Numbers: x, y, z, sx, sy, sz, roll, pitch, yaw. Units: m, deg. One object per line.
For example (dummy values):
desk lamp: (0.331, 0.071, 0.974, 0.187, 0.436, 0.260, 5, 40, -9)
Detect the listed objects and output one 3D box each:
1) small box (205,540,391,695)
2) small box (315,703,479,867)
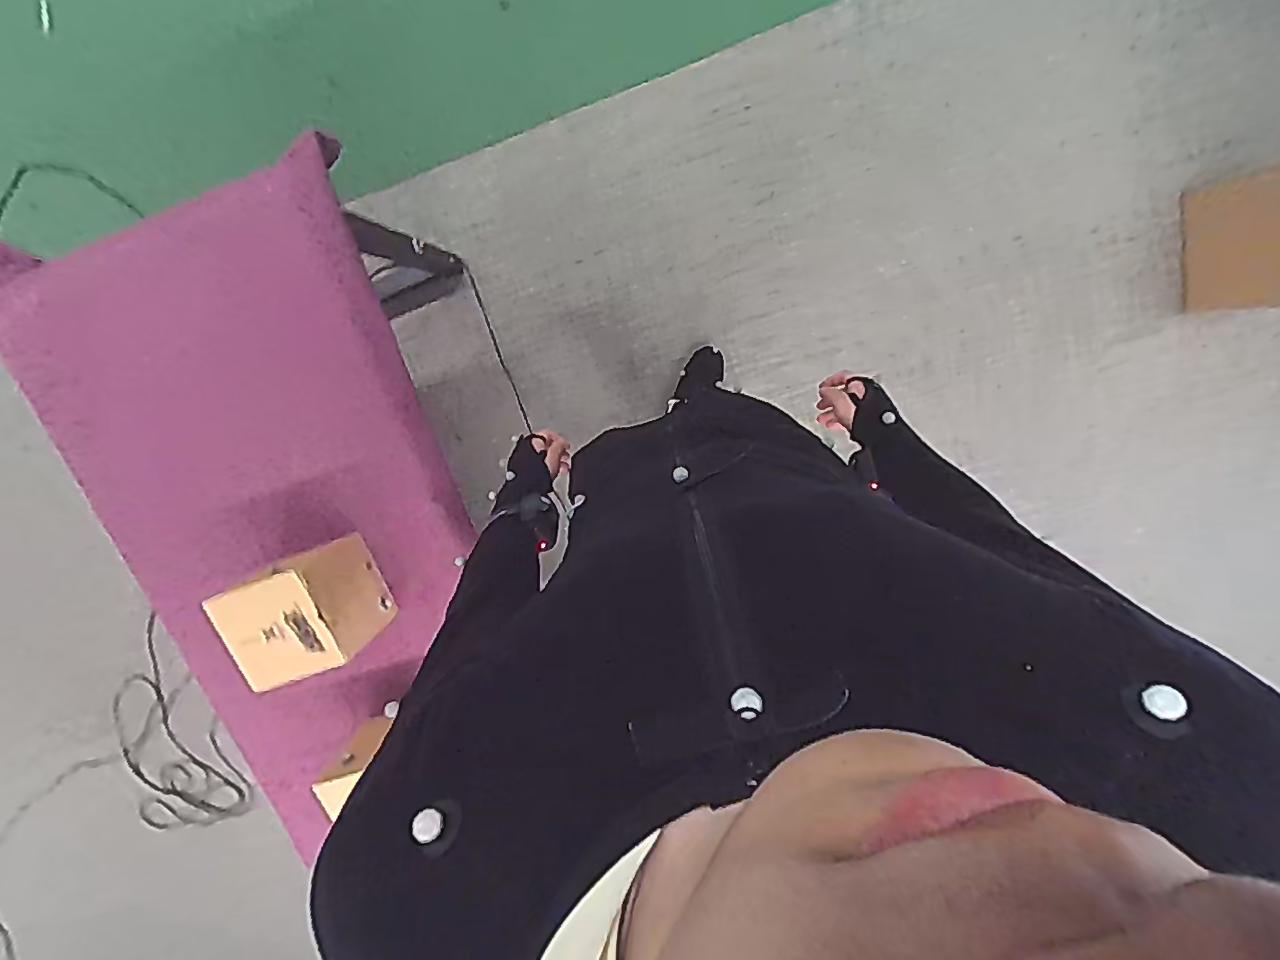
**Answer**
small box: (-0.547, 0.218, 0.900, 0.179, 0.176, 0.168, -19, 101, 9)
small box: (-0.421, 0.535, 0.966, 0.179, 0.176, 0.168, -21, 102, 8)
